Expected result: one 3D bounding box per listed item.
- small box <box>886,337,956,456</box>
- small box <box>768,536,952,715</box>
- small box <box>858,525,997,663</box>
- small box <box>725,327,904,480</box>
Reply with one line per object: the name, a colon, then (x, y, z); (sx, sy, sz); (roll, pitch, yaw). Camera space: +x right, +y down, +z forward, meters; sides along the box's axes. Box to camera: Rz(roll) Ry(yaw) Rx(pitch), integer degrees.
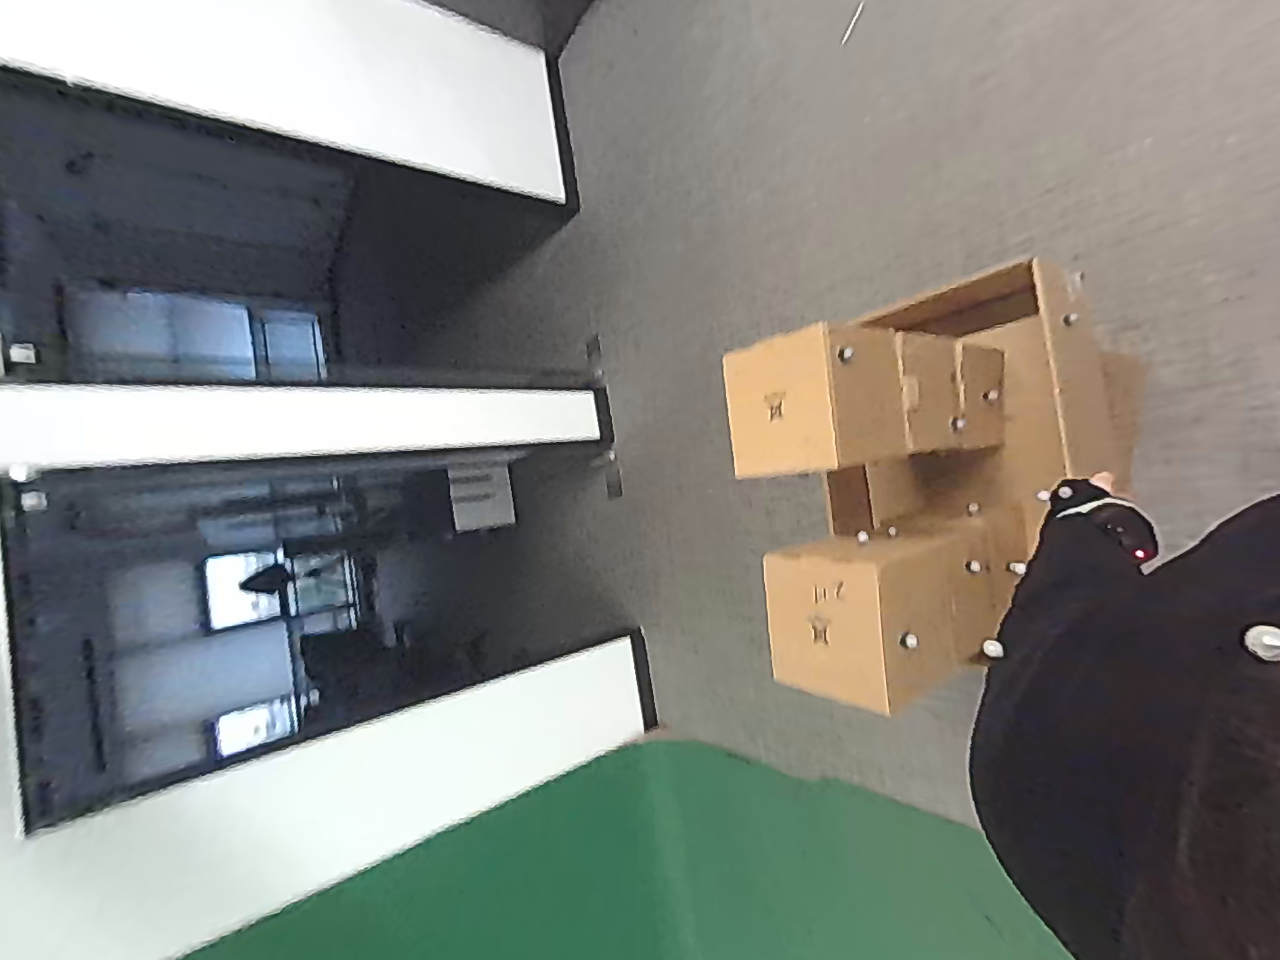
small box: (0.372, -0.120, 0.847); (0.179, 0.176, 0.168); (-6, 91, 53)
small box: (0.294, 0.177, 0.722); (0.168, 0.176, 0.179); (-4, 91, 52)
small box: (0.420, 0.162, 0.829); (0.179, 0.176, 0.168); (-9, 87, 53)
small box: (0.243, -0.100, 0.749); (0.168, 0.176, 0.179); (-7, 89, 53)
